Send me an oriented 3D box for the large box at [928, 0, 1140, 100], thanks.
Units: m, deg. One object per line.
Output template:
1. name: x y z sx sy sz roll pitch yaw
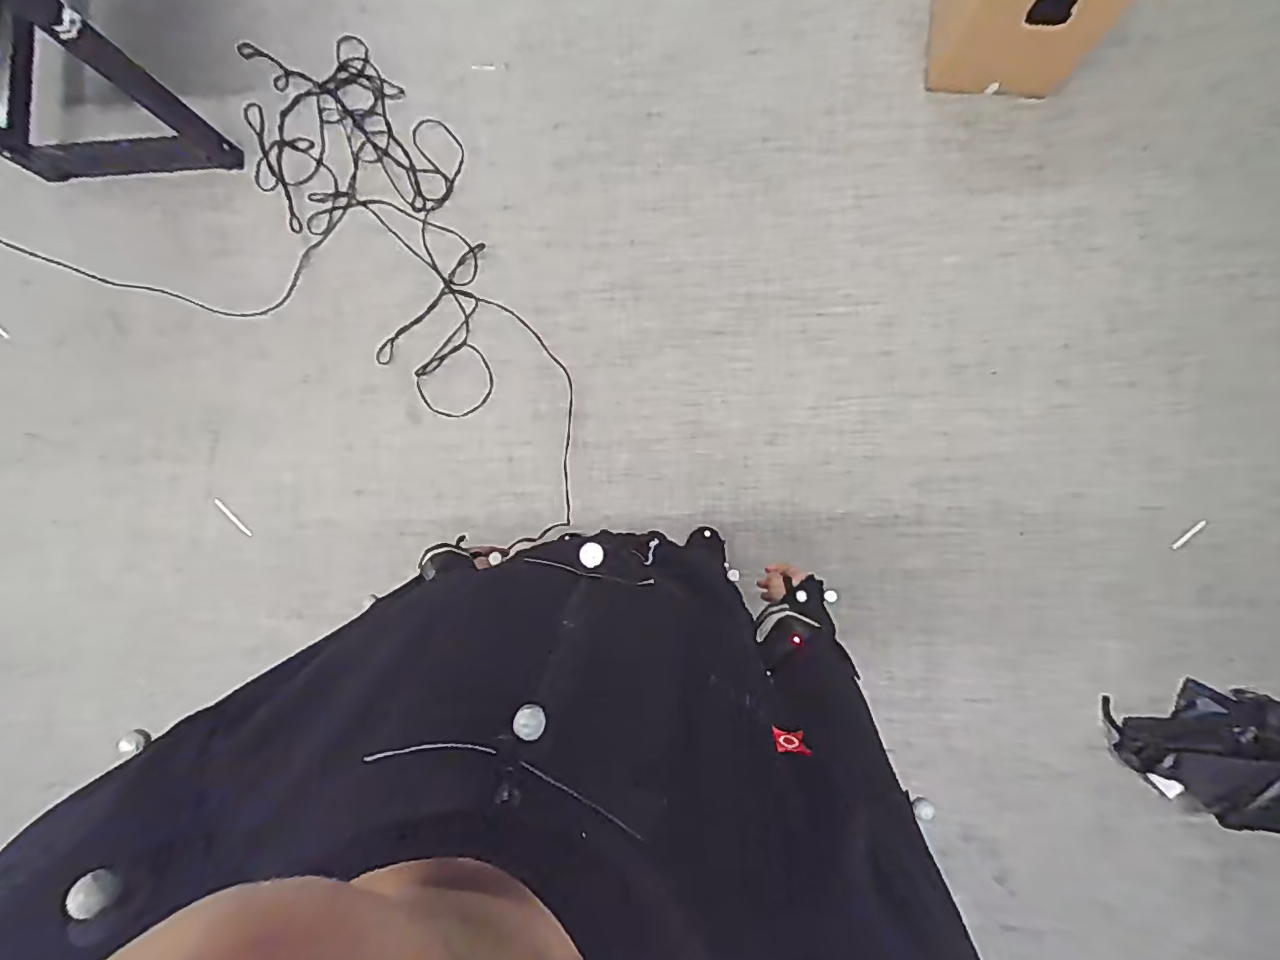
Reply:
1. large box: 0.904 -1.193 1.254 0.320 0.320 0.408 5 88 4
